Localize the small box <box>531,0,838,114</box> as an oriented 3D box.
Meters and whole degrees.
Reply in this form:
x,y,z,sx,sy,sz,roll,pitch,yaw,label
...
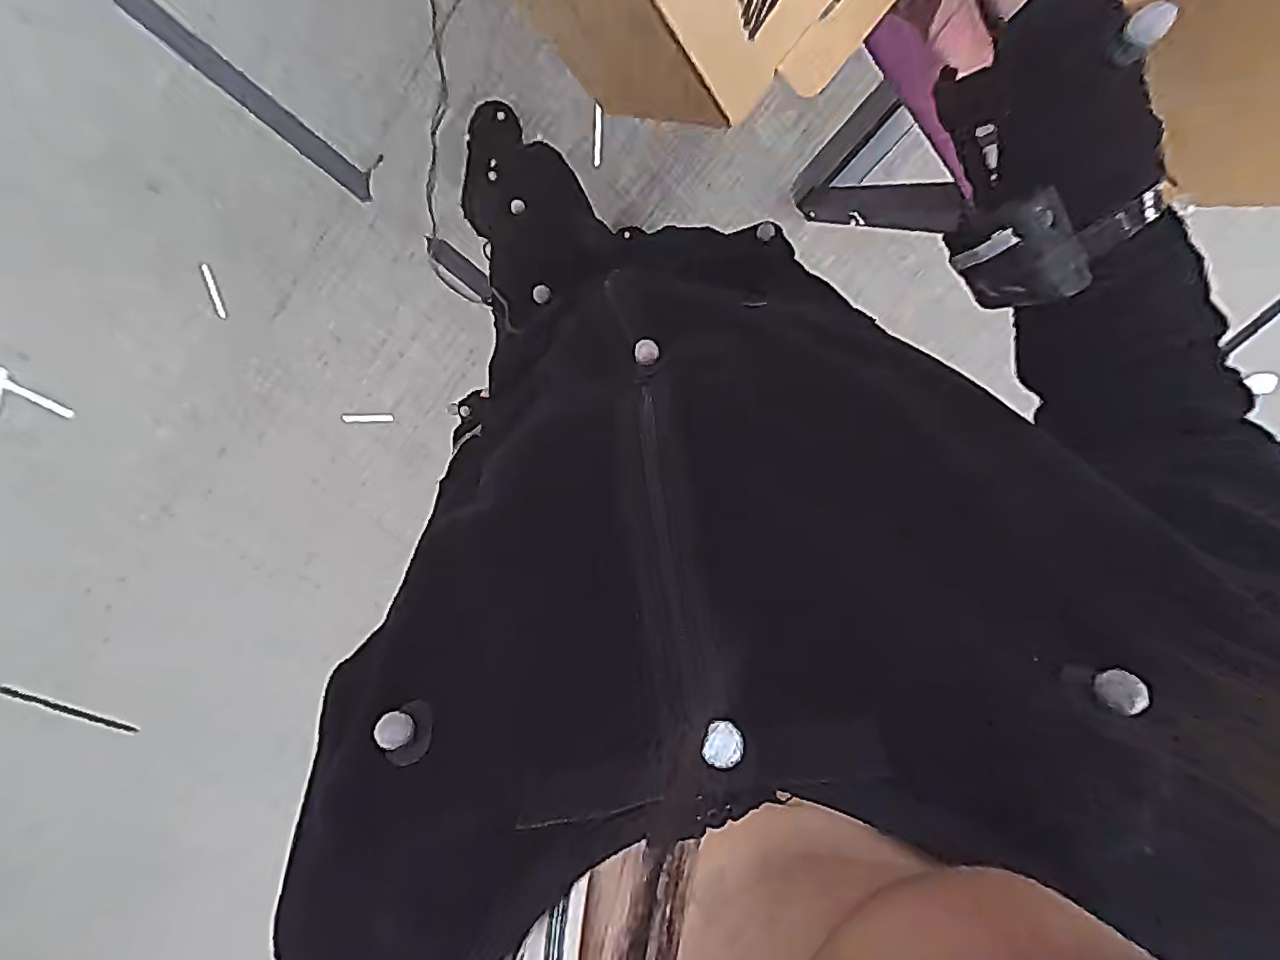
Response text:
x,y,z,sx,sy,sz,roll,pitch,yaw,label
0.016,-0.311,0.246,0.168,0.176,0.179,-48,132,8,small box

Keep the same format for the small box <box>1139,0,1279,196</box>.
x,y,z,sx,sy,sz,roll,pitch,yaw,label
0.460,-0.292,0.317,0.179,0.176,0.168,40,106,-23,small box
